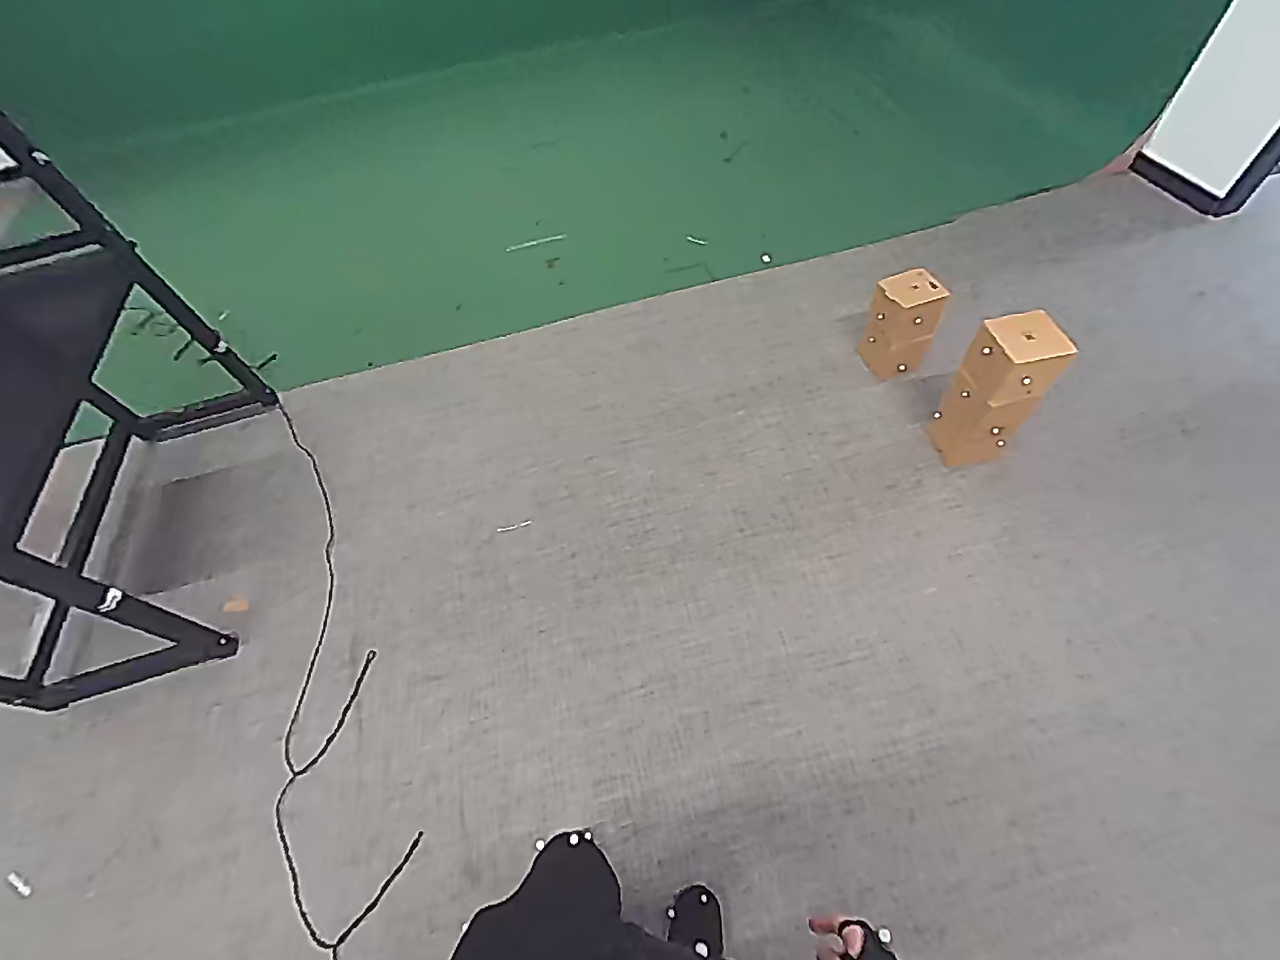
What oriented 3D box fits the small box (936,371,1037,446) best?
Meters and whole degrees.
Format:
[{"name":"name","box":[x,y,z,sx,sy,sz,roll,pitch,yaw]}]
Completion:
[{"name":"small box","box":[1.050,-0.233,1.658,0.168,0.176,0.179,-15,56,-3]}]

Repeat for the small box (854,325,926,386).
[{"name":"small box","box":[0.937,-0.485,2.047,0.168,0.176,0.179,-16,56,-4]}]

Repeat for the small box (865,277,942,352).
[{"name":"small box","box":[0.921,-0.580,1.915,0.179,0.176,0.168,-19,56,-5]}]

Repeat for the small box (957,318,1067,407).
[{"name":"small box","box":[1.037,-0.323,1.524,0.168,0.176,0.179,-11,55,1]}]
